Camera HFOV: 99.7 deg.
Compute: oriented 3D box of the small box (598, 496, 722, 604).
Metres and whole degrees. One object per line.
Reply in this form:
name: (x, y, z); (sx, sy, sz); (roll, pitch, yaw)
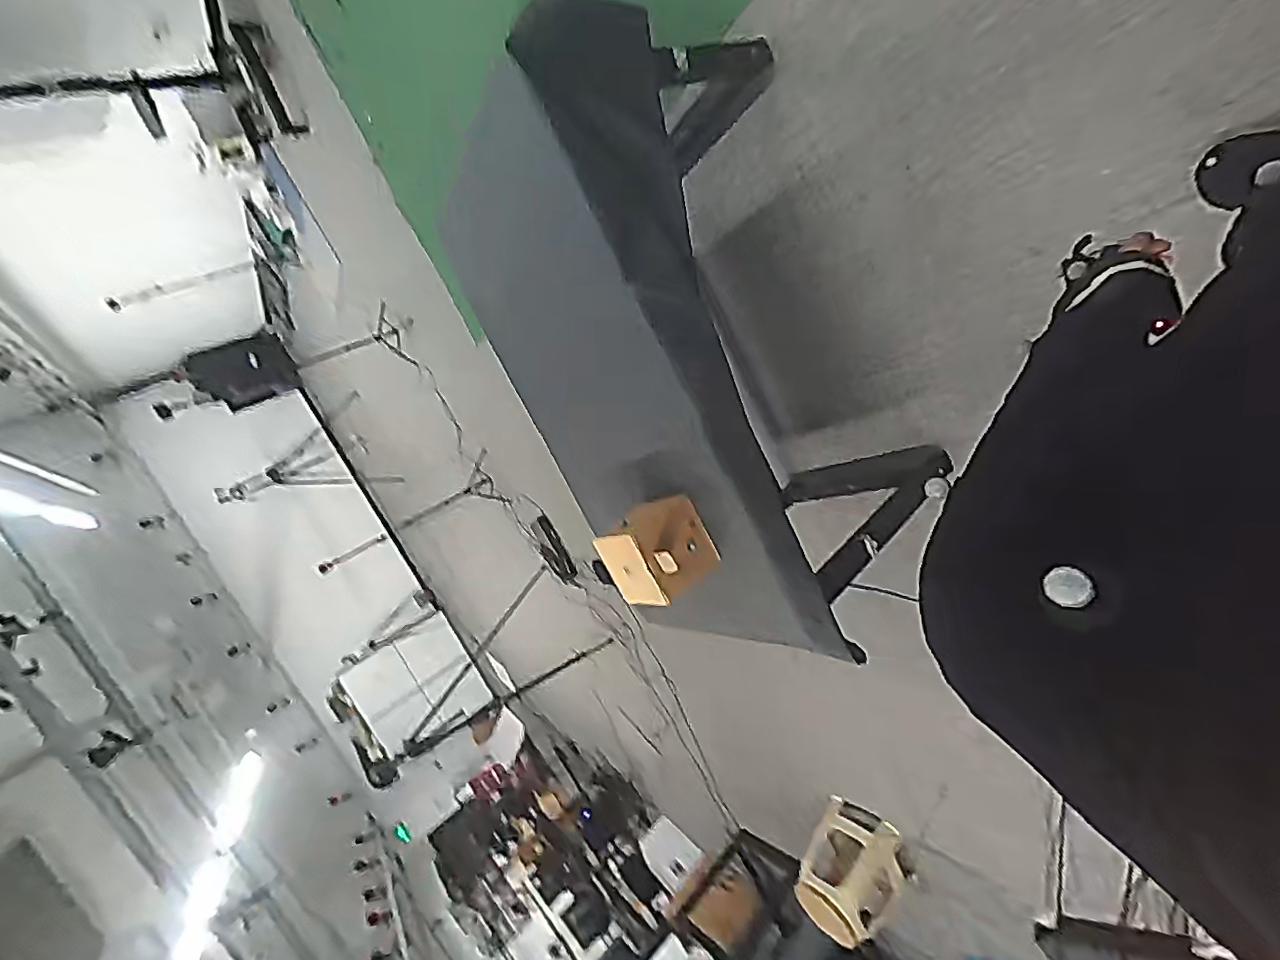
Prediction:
small box: (0.045, 0.150, 1.172); (0.179, 0.176, 0.168); (-18, 102, 58)
